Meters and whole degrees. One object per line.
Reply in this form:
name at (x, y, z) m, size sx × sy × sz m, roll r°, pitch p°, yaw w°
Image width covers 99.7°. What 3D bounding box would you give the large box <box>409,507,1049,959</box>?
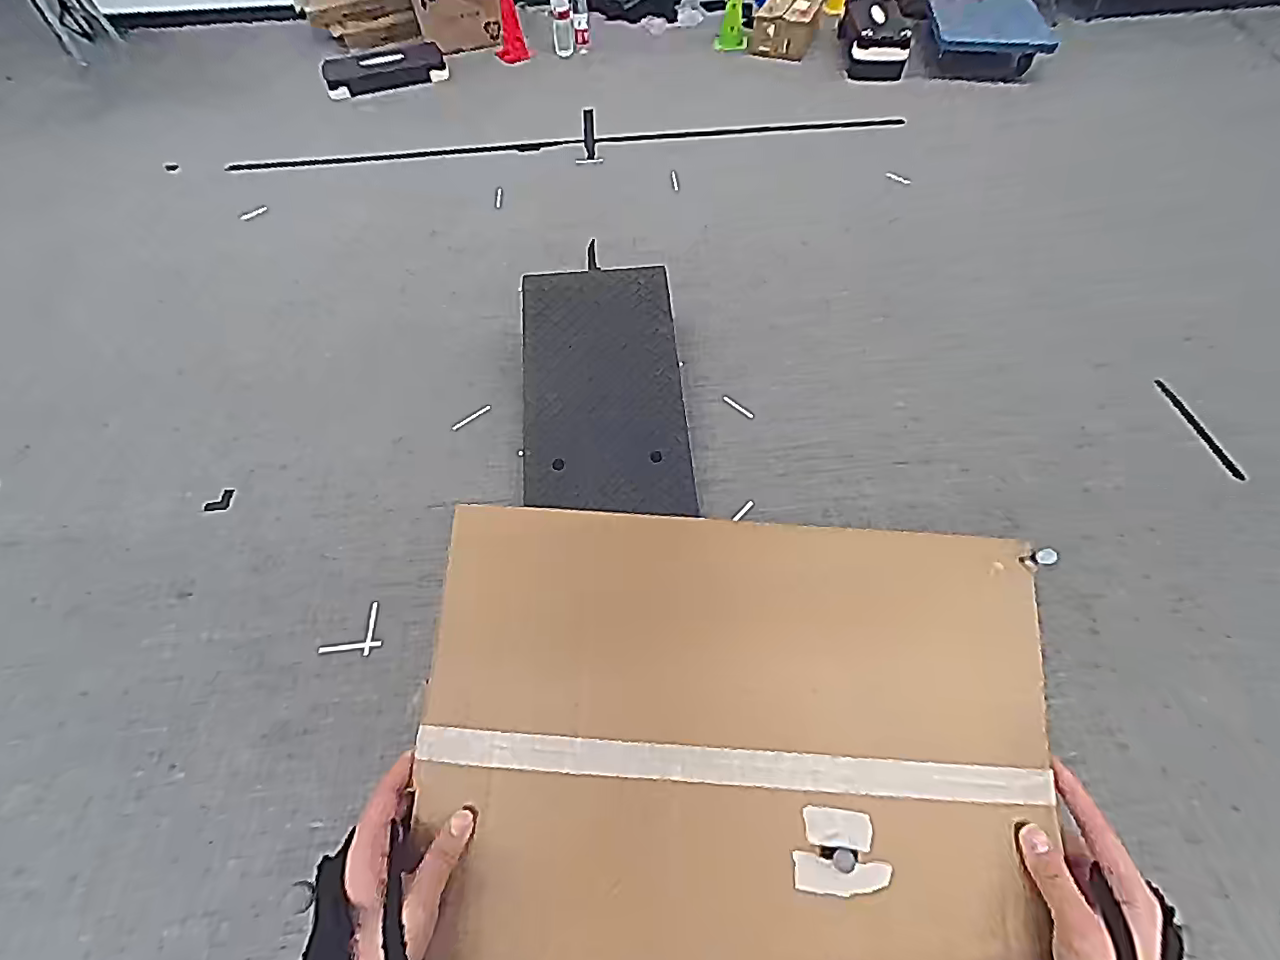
large box at (0.059, 0.211, 0.505) m, size 0.408 × 0.320 × 0.320 m, roll 3°, pitch 78°, yaw 1°
